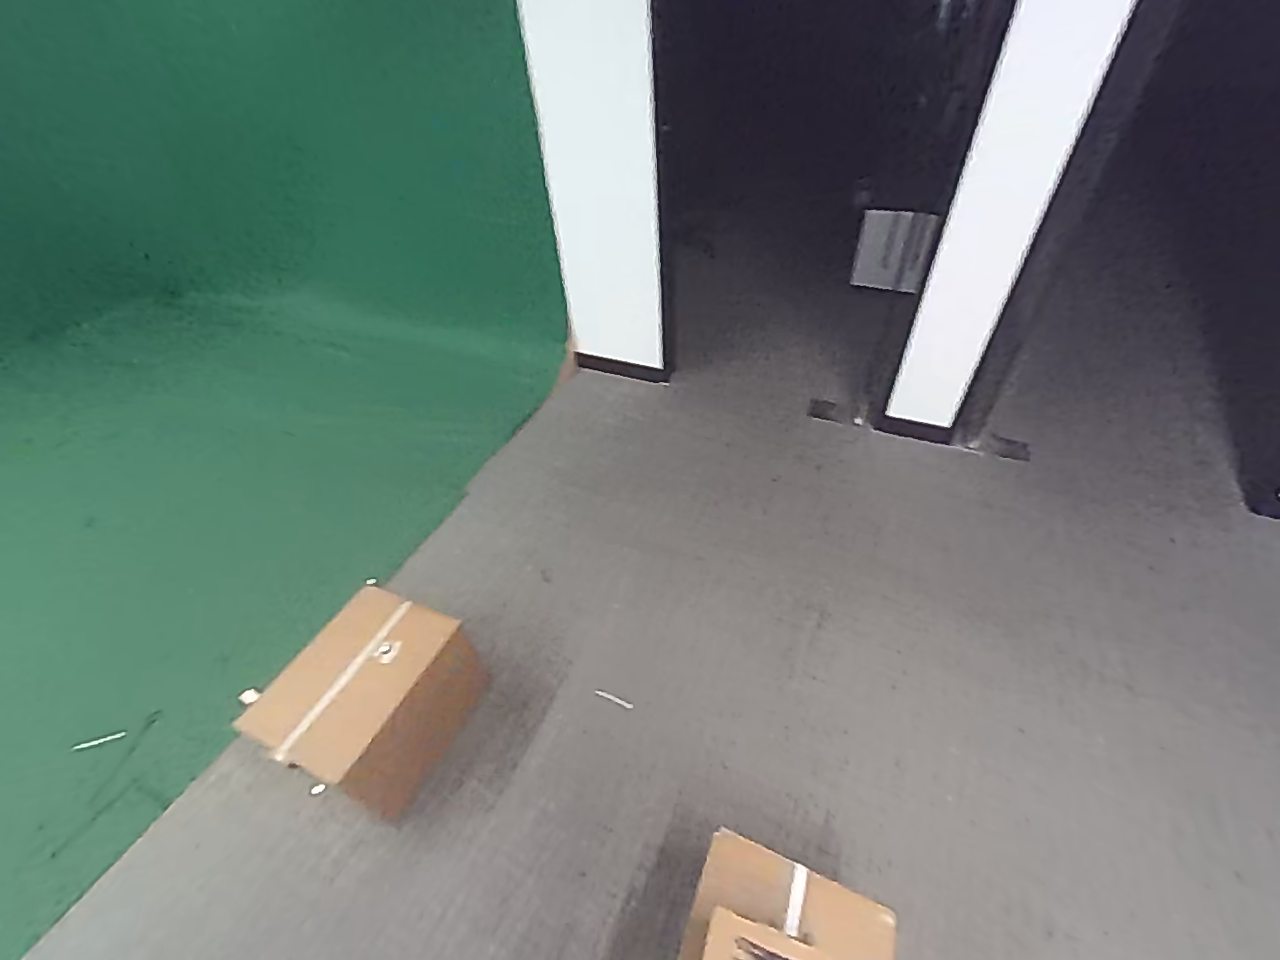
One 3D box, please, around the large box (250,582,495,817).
[{"bbox_3d":[-0.636,0.542,1.364,0.320,0.320,0.408,15,47,20],"label":"large box"}]
